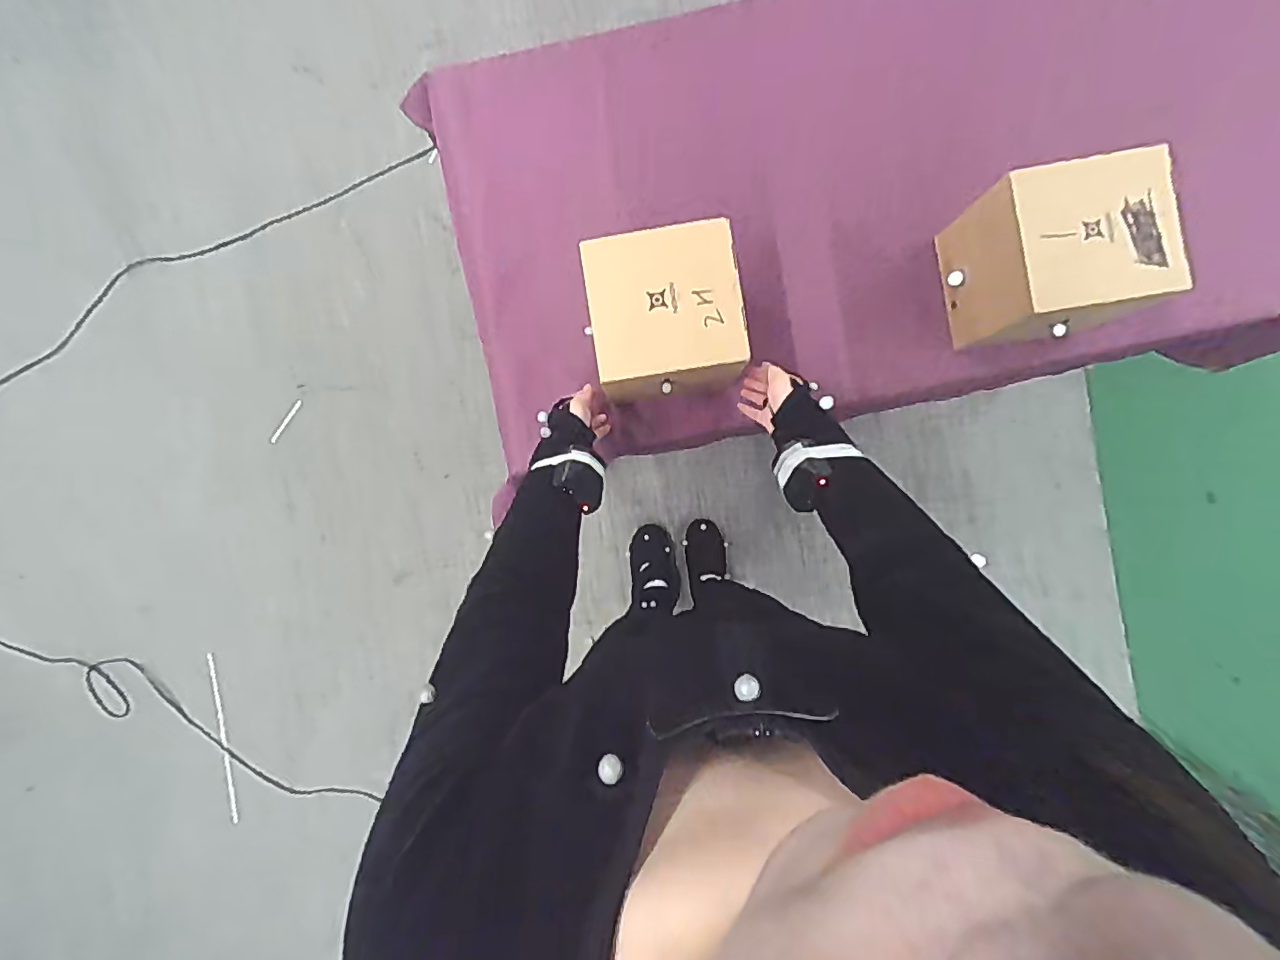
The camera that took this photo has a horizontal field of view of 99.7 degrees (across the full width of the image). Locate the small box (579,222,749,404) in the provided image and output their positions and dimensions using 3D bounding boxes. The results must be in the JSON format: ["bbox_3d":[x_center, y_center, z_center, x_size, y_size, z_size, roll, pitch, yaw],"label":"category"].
[{"bbox_3d":[0.030,-0.198,0.690,0.179,0.176,0.168,-8,89,2],"label":"small box"}]

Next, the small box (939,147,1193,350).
[{"bbox_3d":[0.511,-0.272,0.674,0.179,0.176,0.168,-9,88,3],"label":"small box"}]
